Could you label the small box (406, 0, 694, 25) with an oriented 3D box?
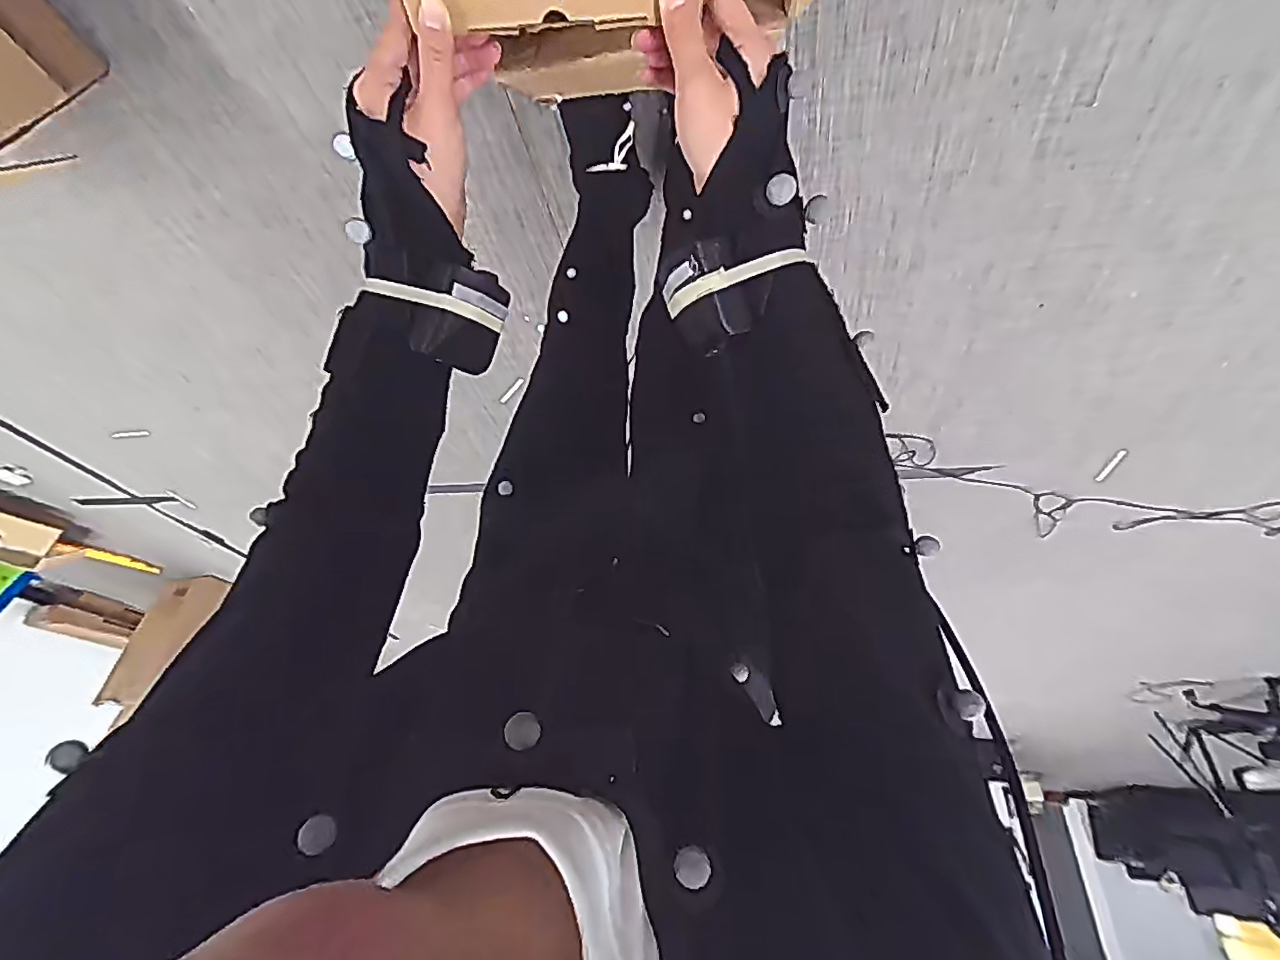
[{"bbox_3d":[-0.049,-0.375,0.282,0.168,0.176,0.179,0,142,4],"label":"small box"}]
